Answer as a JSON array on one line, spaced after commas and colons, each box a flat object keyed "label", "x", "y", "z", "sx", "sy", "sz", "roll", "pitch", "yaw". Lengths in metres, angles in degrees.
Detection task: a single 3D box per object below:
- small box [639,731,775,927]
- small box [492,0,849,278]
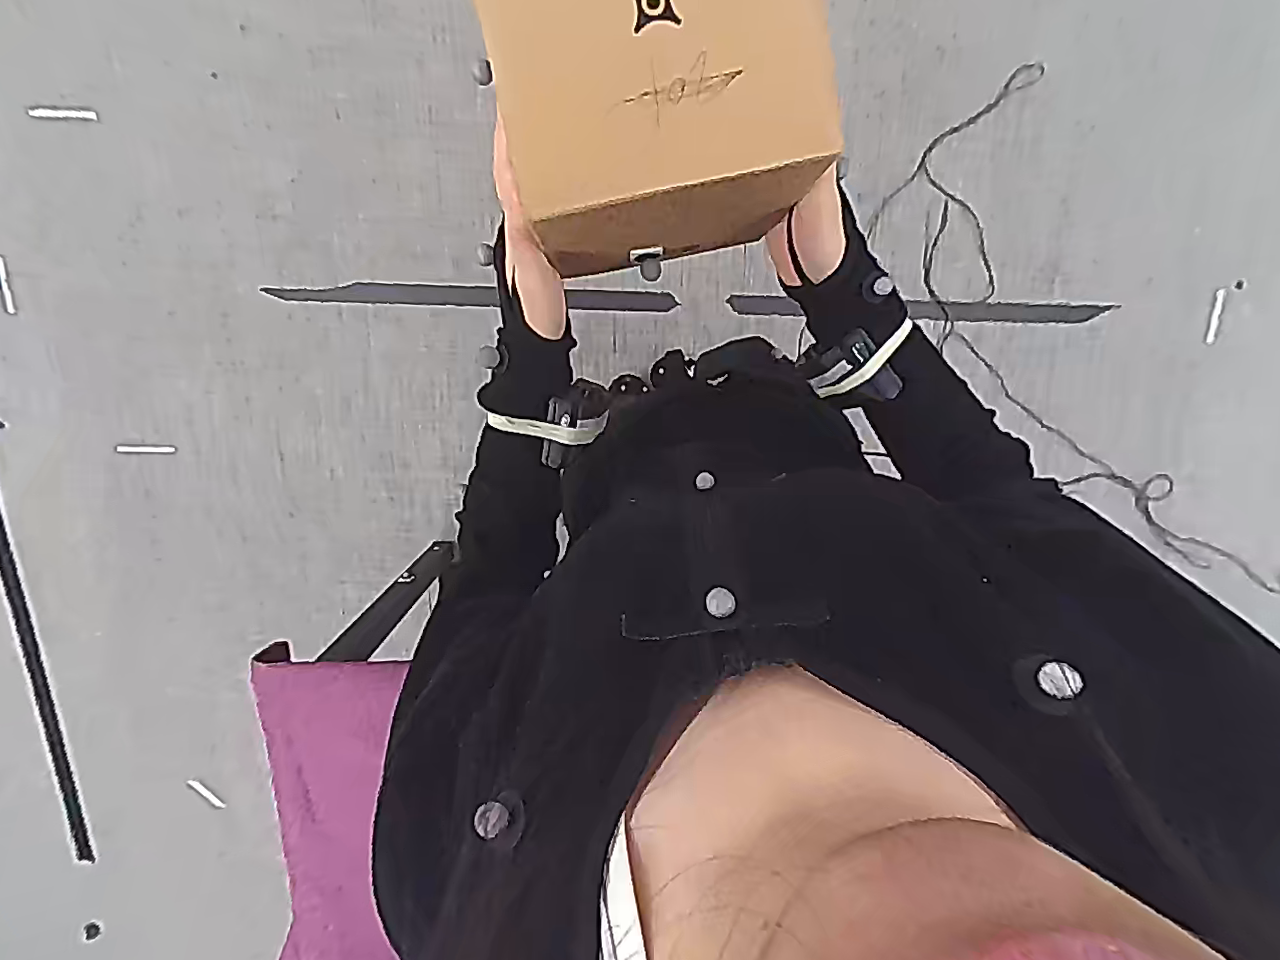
[{"label": "small box", "x": 0.086, "y": 0.500, "z": 0.789, "sx": 0.168, "sy": 0.176, "sz": 0.179, "roll": 2, "pitch": 104, "yaw": -3}, {"label": "small box", "x": 0.006, "y": -0.245, "z": 0.339, "sx": 0.168, "sy": 0.176, "sz": 0.179, "roll": -13, "pitch": 101, "yaw": 0}]
